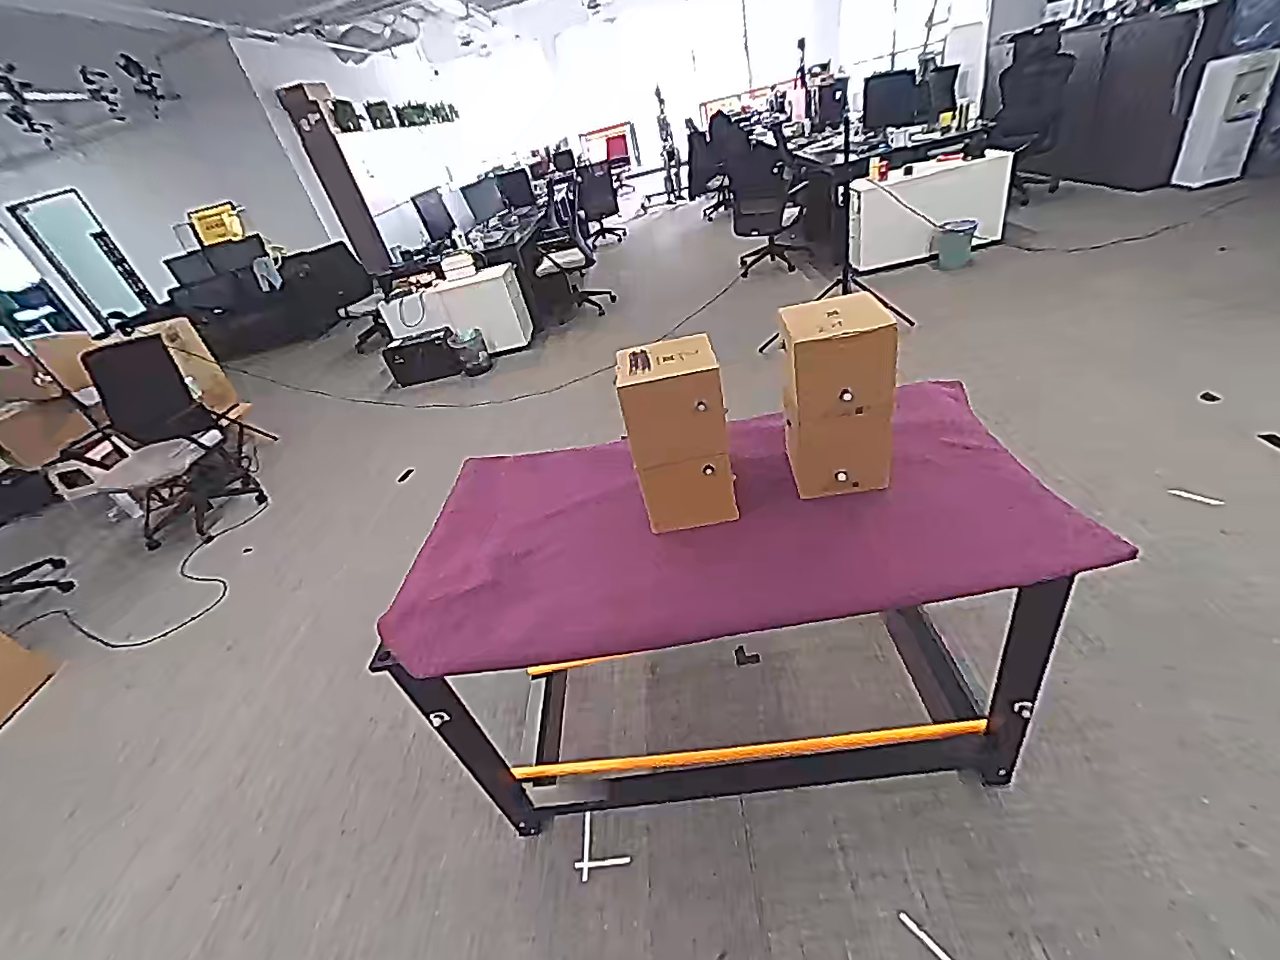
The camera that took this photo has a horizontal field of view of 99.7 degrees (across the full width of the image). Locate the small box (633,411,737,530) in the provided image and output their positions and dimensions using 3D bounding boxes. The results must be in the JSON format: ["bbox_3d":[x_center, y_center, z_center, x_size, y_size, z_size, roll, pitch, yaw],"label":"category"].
[{"bbox_3d":[0.090,-0.016,1.094,0.179,0.176,0.168,-10,34,6],"label":"small box"}]

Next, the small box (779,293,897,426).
[{"bbox_3d":[0.352,-0.219,0.984,0.168,0.176,0.179,-9,35,10],"label":"small box"}]

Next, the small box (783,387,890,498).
[{"bbox_3d":[0.384,-0.086,1.078,0.168,0.176,0.179,-9,35,10],"label":"small box"}]
